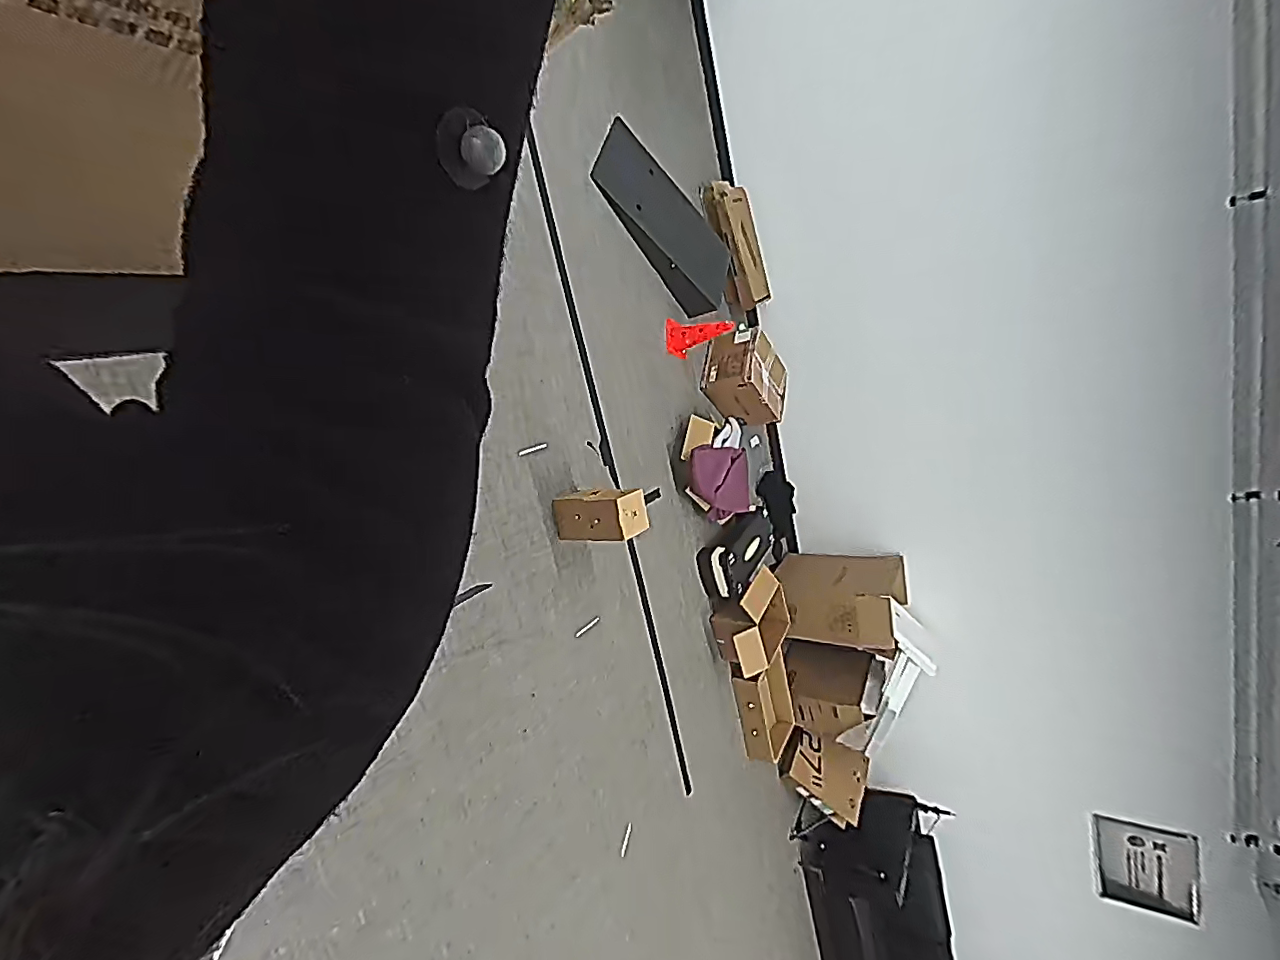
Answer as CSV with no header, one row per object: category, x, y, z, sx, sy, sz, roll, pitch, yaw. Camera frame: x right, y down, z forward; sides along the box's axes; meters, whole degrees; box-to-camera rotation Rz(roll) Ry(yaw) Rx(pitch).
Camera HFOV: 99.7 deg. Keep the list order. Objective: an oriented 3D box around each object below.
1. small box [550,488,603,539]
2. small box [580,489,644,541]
small box,-0.250,0.138,2.218,0.168,0.176,0.179,-22,105,-53
small box,-0.112,0.134,2.128,0.179,0.176,0.168,-22,104,-53
